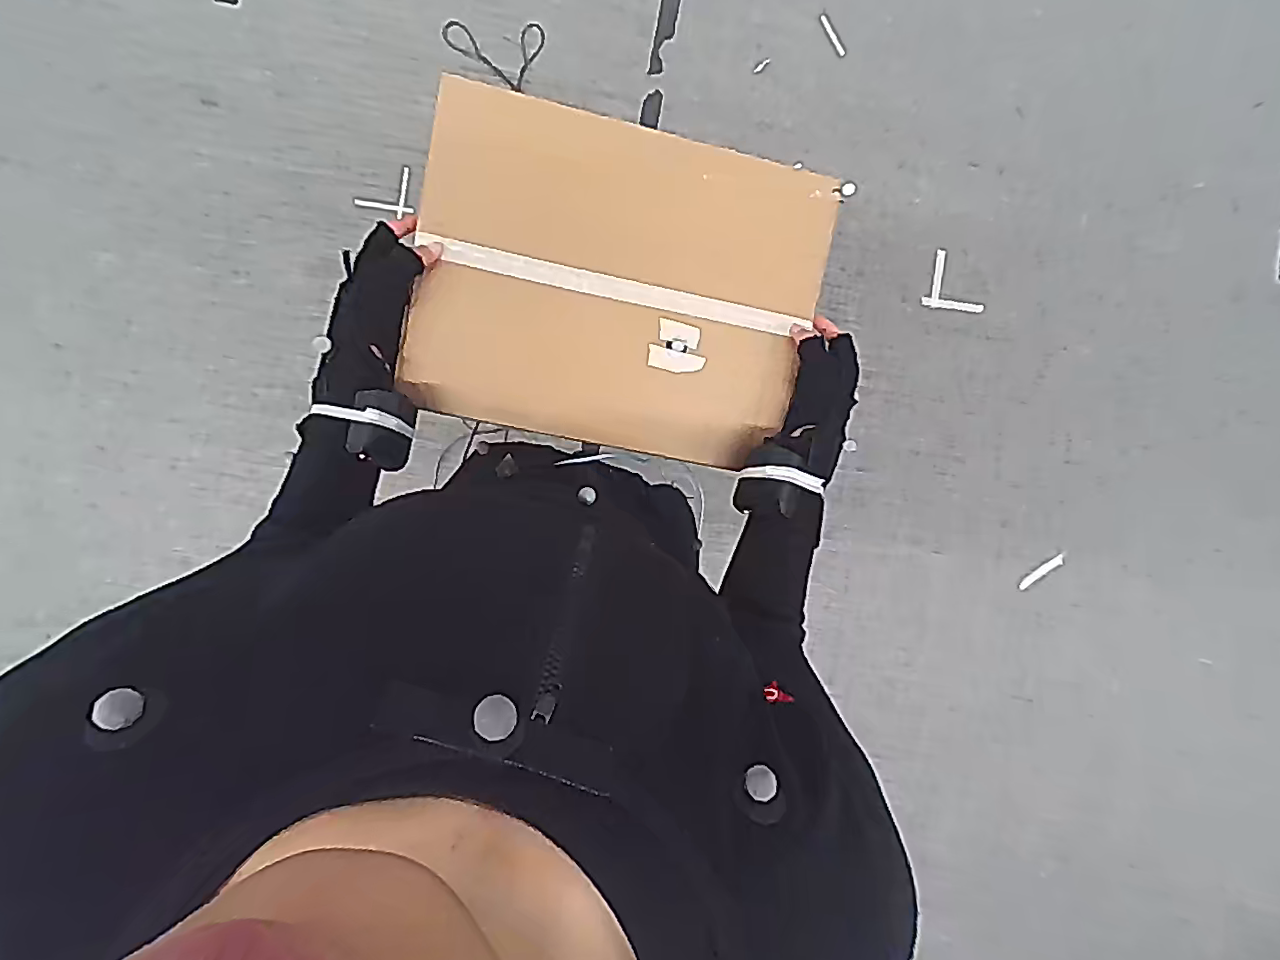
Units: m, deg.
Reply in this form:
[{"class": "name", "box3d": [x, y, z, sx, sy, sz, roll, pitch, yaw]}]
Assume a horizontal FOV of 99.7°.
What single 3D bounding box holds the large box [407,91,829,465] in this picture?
[{"class": "large box", "box3d": [-0.037, -0.214, 0.707, 0.408, 0.320, 0.320, 11, 96, -7]}]
